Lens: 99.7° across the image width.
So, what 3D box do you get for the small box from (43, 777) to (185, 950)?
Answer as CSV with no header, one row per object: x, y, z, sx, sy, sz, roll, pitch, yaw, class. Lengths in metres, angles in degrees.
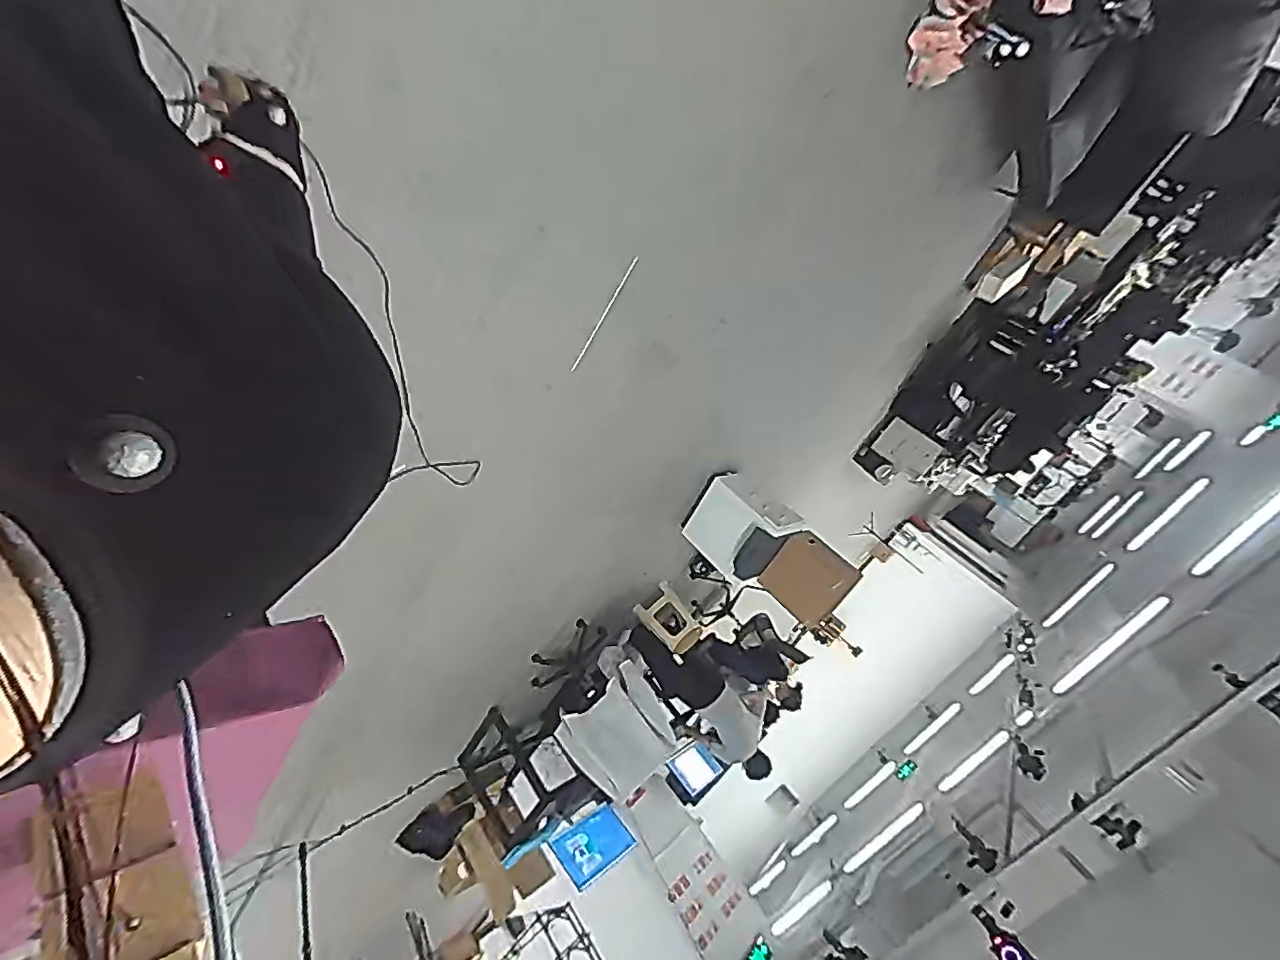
-0.952,0.675,0.976,0.168,0.176,0.179,-2,131,-49,small box

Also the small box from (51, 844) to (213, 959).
-0.837,0.756,0.889,0.179,0.176,0.168,-3,131,-50,small box
